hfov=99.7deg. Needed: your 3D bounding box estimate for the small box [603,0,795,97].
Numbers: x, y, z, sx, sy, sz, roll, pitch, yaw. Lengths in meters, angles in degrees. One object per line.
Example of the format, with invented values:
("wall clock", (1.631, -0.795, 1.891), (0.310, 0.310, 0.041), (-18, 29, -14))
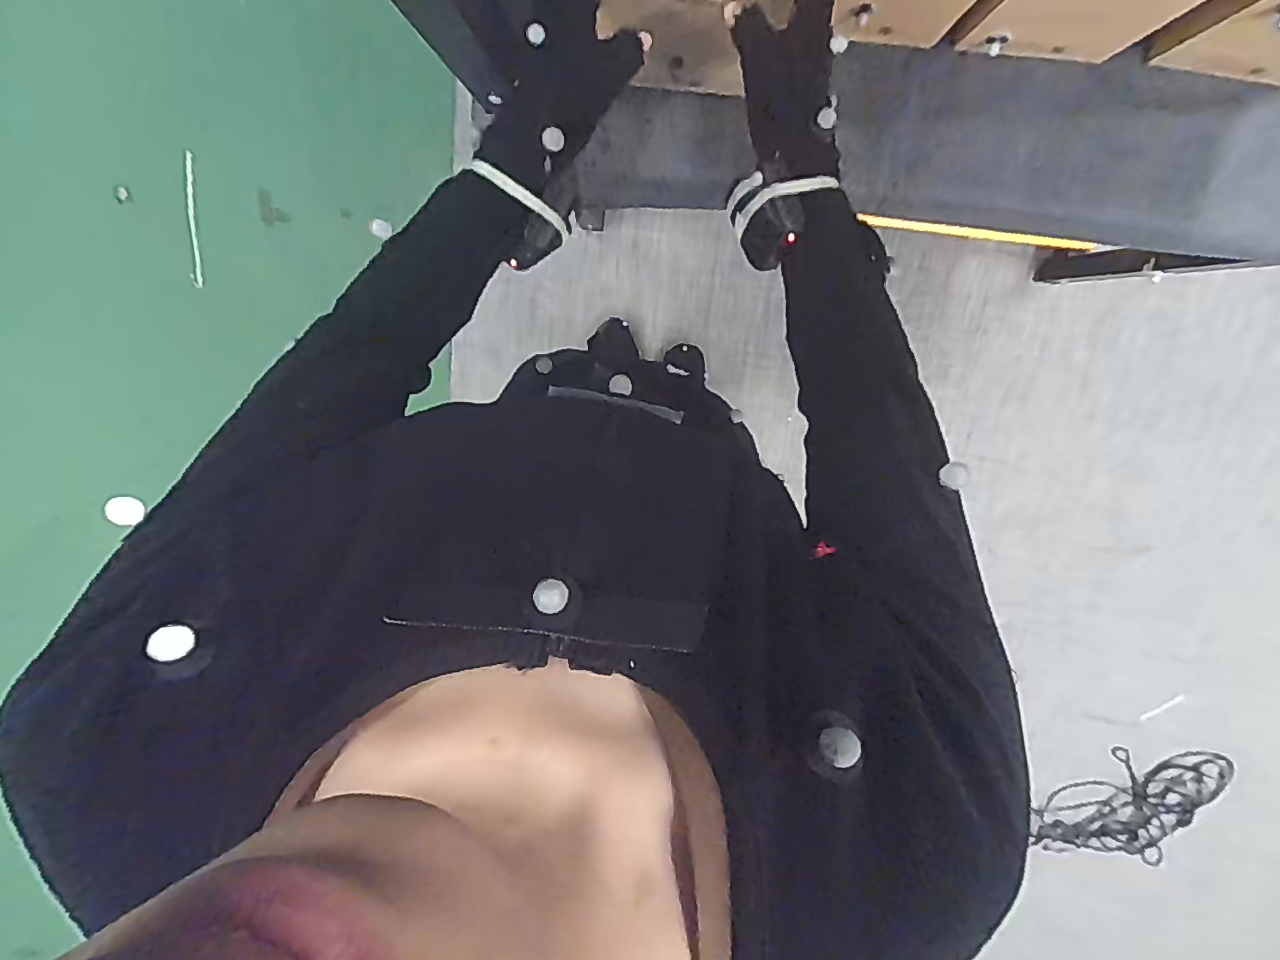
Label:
("small box", (0.051, -0.504, 0.508), (0.168, 0.176, 0.179), (3, 103, -3))
